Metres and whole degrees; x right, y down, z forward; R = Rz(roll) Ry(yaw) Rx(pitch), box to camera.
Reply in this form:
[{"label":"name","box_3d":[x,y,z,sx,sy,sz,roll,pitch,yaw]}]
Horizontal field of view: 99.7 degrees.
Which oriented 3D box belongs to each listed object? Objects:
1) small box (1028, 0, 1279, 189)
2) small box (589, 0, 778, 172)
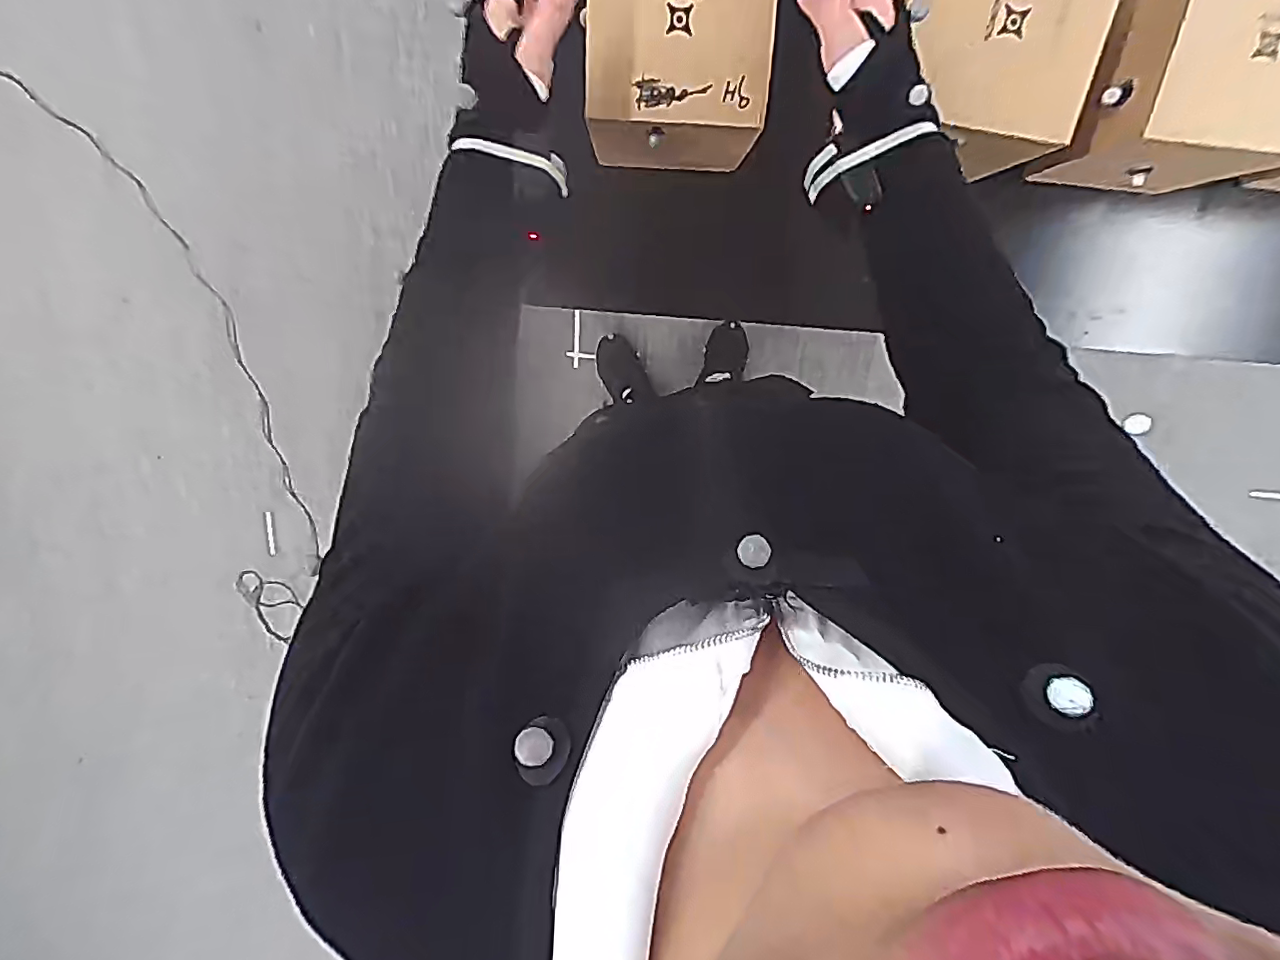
[{"label":"small box","box_3d":[0.544,-0.413,0.551,0.168,0.176,0.179,6,107,-1]},{"label":"small box","box_3d":[0.039,-0.437,0.550,0.168,0.176,0.179,3,107,0]}]
